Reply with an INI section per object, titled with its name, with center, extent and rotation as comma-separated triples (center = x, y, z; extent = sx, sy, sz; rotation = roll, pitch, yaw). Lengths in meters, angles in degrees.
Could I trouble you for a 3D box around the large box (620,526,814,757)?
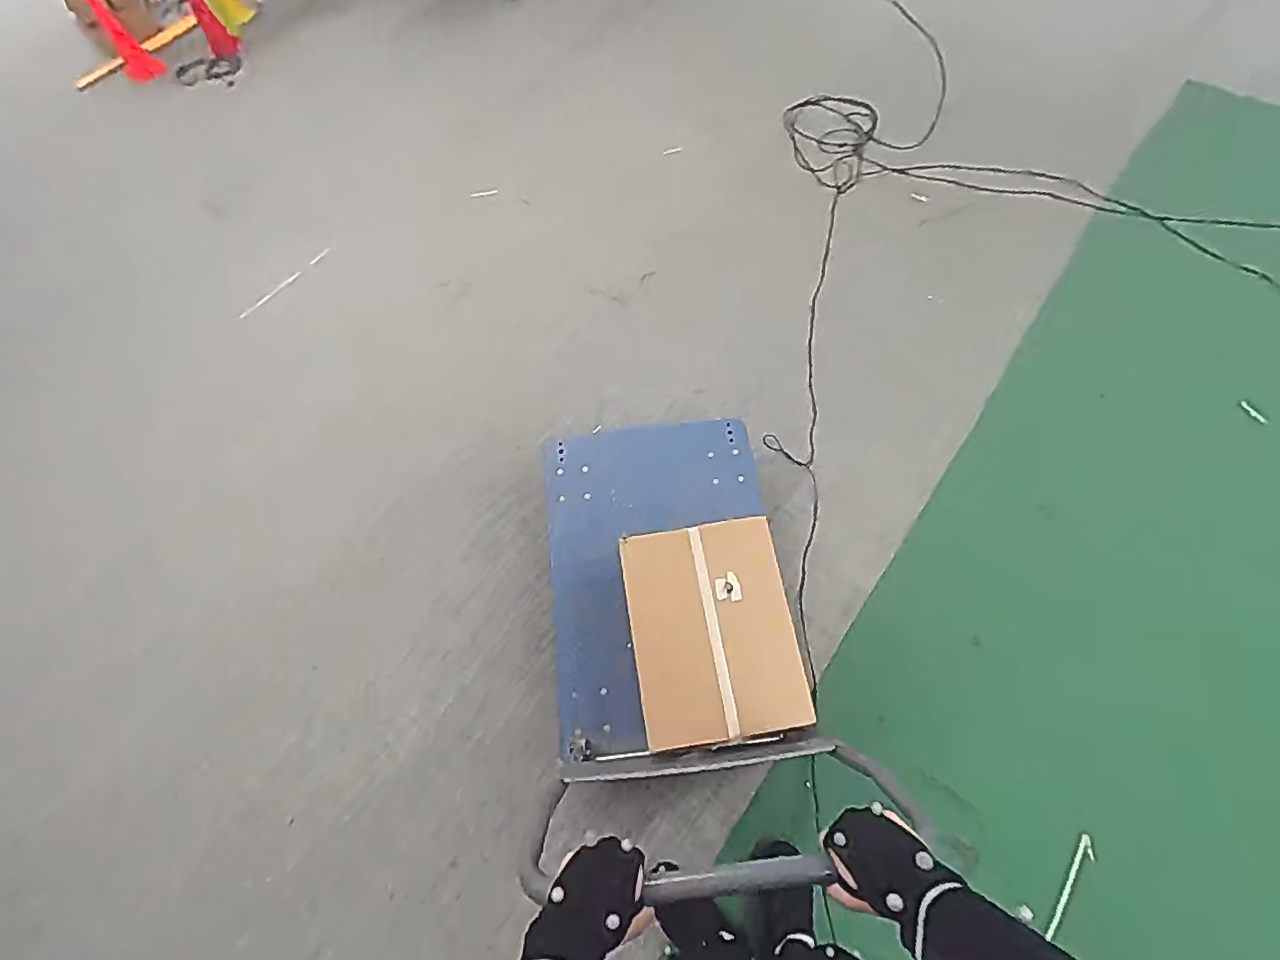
[large box]
center = 0.148, 0.360, 1.206
extent = 0.320, 0.320, 0.408
rotation = -9, 67, -2
